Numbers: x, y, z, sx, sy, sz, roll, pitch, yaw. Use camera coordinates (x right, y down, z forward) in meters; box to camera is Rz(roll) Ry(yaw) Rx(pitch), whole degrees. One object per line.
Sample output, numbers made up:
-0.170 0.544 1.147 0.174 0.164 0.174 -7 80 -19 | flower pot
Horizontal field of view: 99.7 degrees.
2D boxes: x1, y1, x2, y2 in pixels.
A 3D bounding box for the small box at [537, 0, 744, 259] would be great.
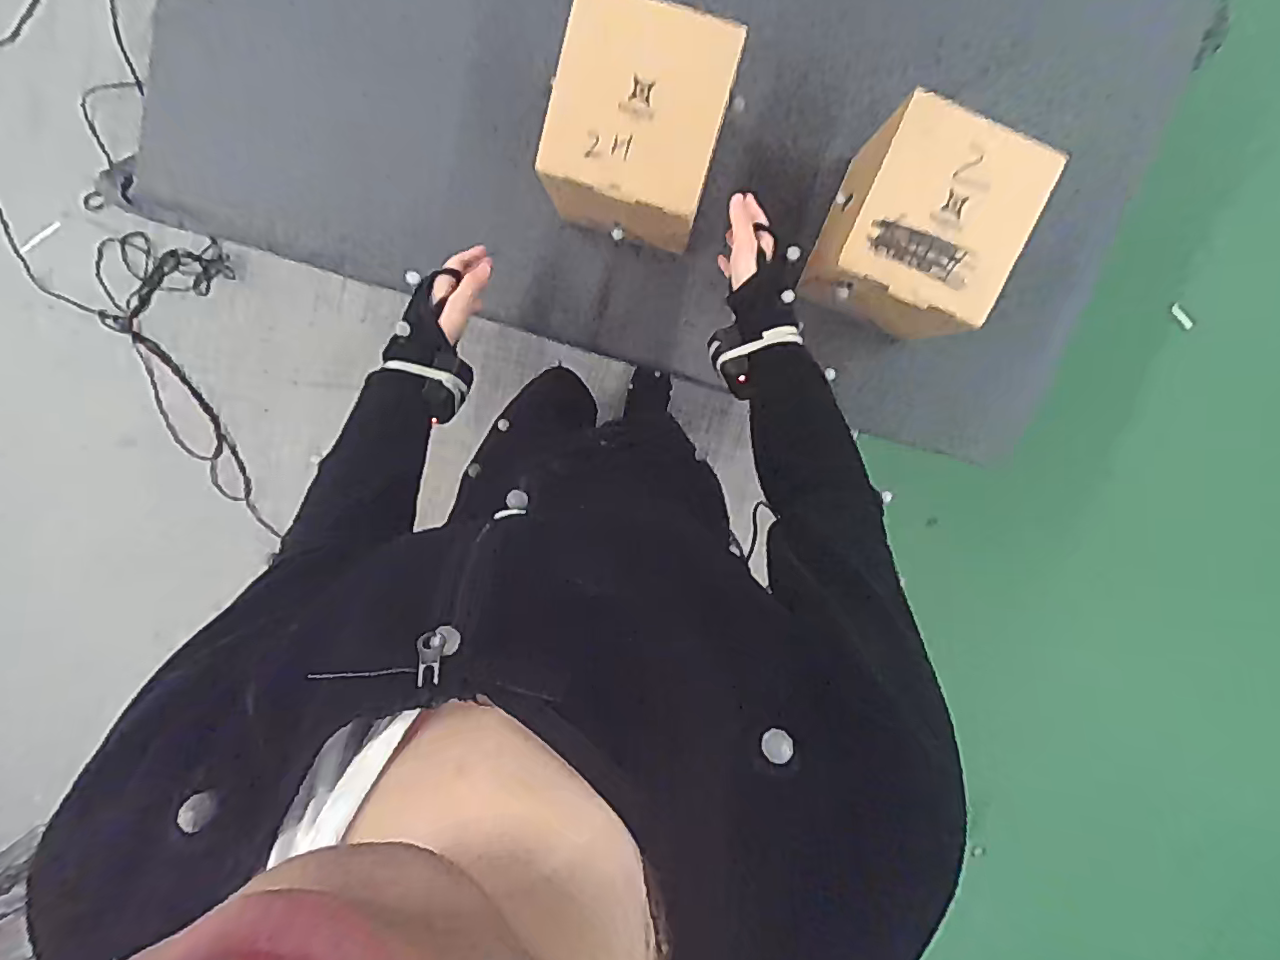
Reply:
-0.002 -0.374 0.606 0.168 0.176 0.179 17 100 -2 | small box
